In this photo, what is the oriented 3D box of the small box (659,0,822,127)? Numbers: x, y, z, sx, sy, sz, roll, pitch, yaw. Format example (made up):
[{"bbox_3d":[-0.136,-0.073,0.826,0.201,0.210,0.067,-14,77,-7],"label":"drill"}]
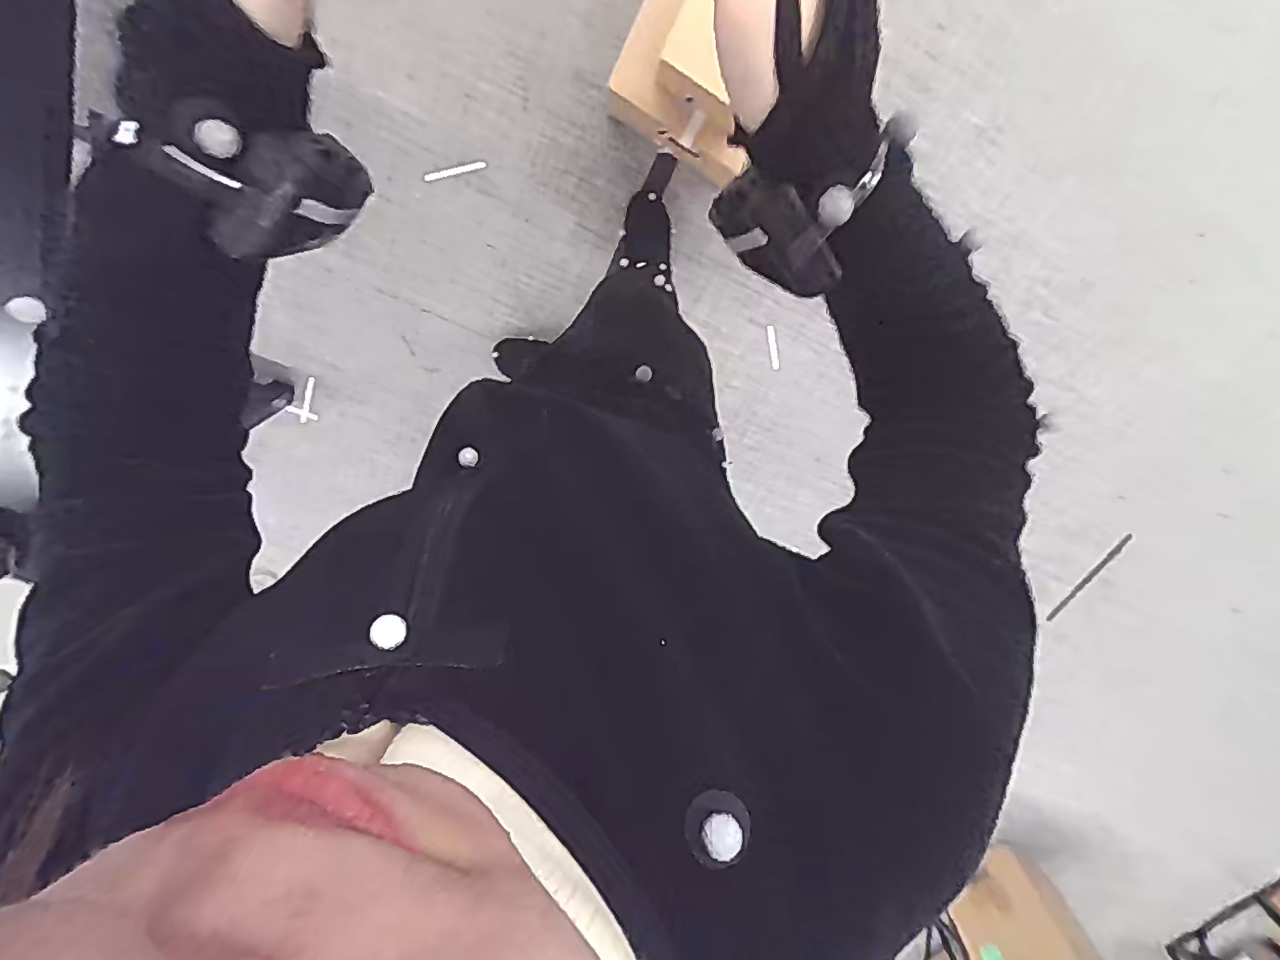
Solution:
[{"bbox_3d":[0.136,-0.658,0.793,0.168,0.176,0.179,26,114,-14],"label":"small box"}]

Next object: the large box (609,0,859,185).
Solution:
[{"bbox_3d":[0.163,-0.820,0.987,0.320,0.320,0.408,25,113,-16],"label":"large box"}]
